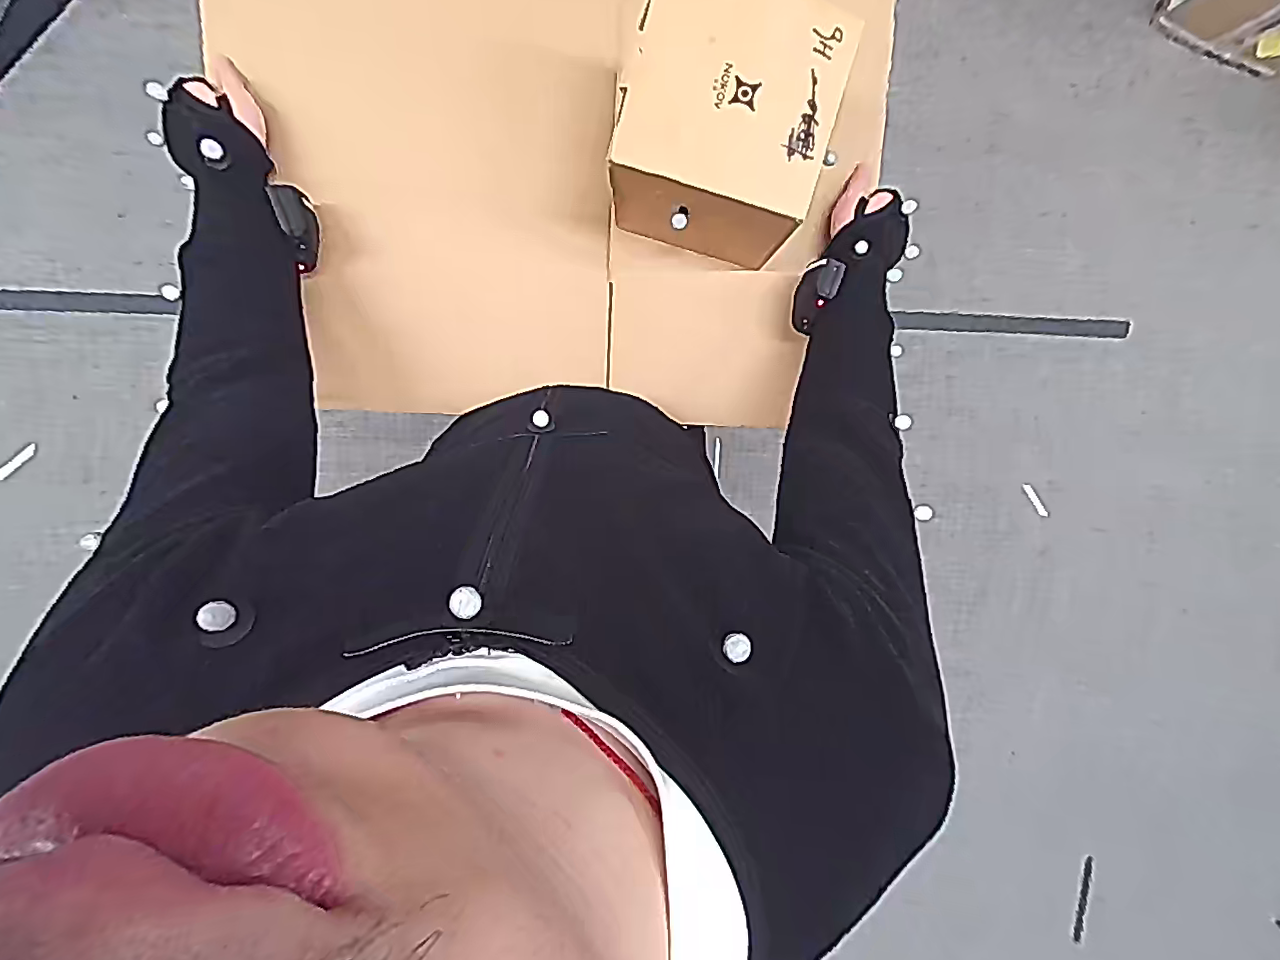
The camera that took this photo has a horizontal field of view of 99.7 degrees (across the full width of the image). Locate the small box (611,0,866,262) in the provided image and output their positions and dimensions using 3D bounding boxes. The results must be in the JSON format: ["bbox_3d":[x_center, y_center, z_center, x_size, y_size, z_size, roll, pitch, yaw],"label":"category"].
[{"bbox_3d":[0.081,-0.334,0.530,0.179,0.176,0.168,16,97,-1],"label":"small box"}]
